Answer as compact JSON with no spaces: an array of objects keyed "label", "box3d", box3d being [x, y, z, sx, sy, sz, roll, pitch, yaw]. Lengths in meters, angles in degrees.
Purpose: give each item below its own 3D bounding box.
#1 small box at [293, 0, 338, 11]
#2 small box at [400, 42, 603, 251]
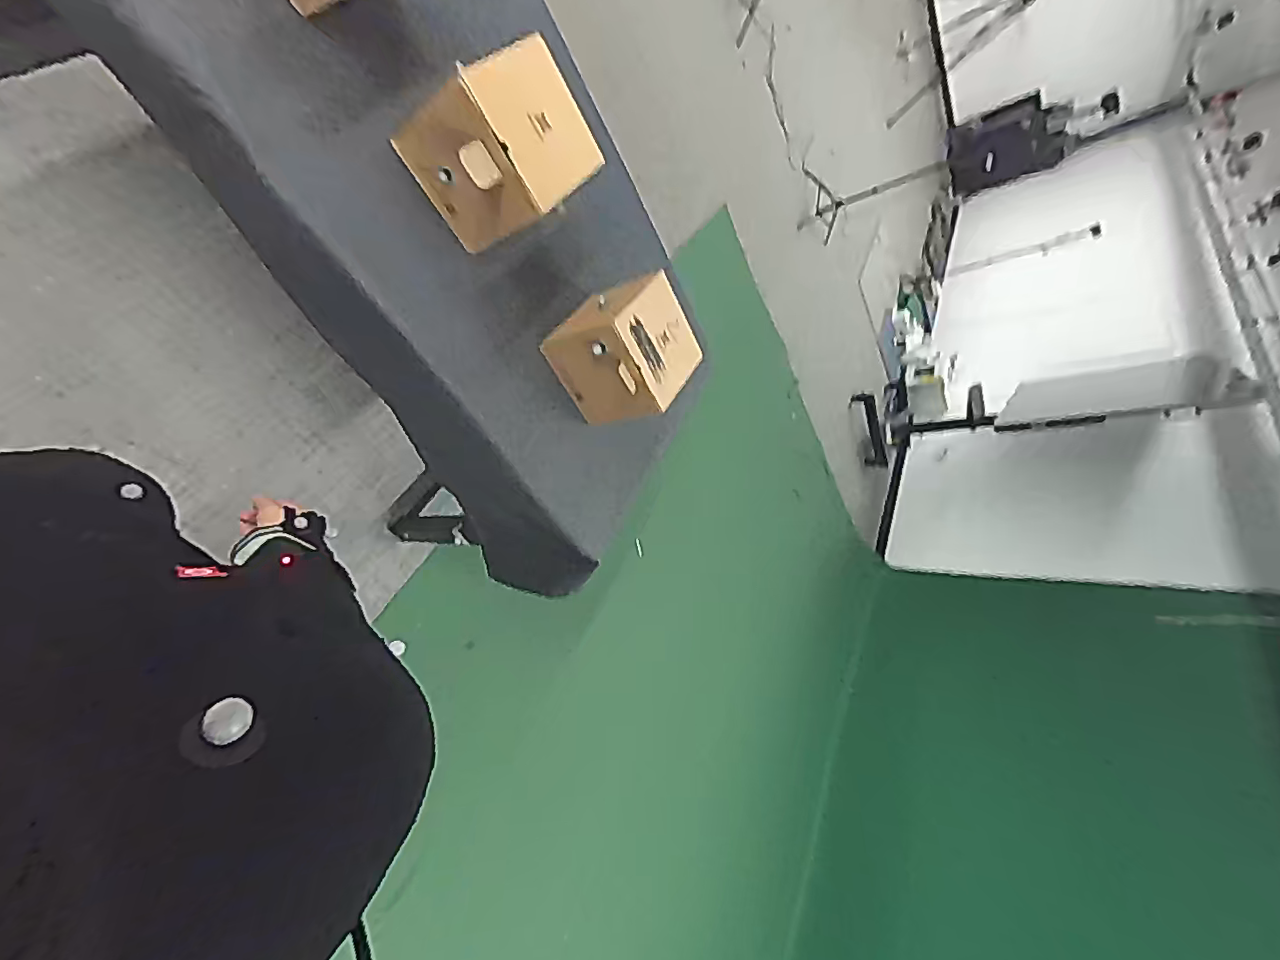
[{"label":"small box","box3d":[-0.340,-0.657,0.575,0.168,0.176,0.179,51,50,-37]},{"label":"small box","box3d":[-0.188,-0.450,0.746,0.168,0.176,0.179,56,49,-33]}]
